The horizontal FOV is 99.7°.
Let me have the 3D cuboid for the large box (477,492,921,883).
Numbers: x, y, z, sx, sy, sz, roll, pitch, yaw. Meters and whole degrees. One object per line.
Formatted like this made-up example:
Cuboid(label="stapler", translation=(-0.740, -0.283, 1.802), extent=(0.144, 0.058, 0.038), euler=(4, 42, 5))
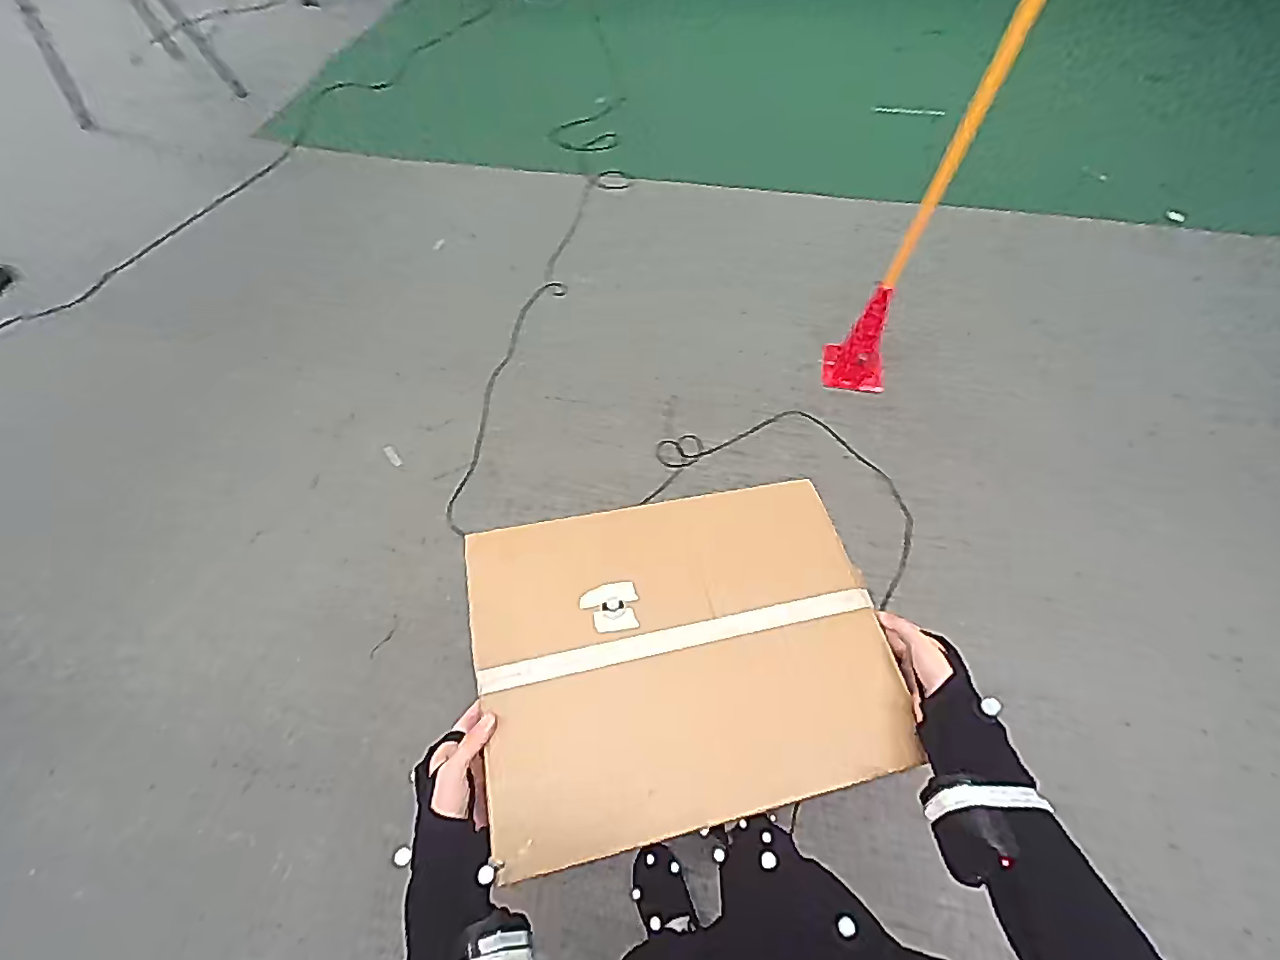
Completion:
Cuboid(label="large box", translation=(0.037, 0.247, 0.680), extent=(0.408, 0.320, 0.320), euler=(-8, 60, -10))
